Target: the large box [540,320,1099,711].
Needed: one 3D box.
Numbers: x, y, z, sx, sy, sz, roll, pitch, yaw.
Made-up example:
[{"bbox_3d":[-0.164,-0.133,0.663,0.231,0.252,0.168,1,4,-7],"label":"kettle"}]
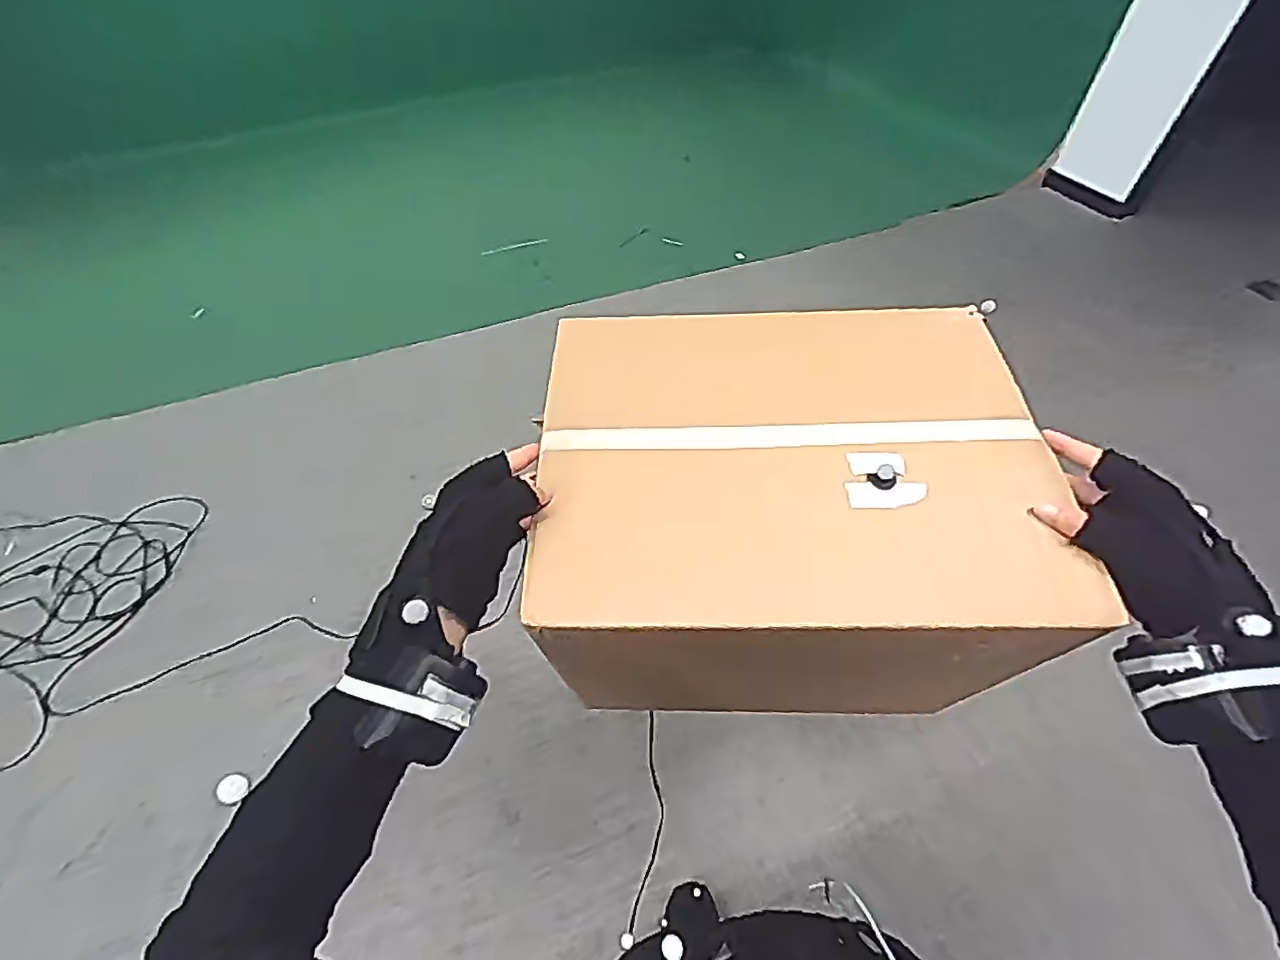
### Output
[{"bbox_3d":[0.127,0.054,0.586,0.408,0.320,0.320,-1,57,2],"label":"large box"}]
